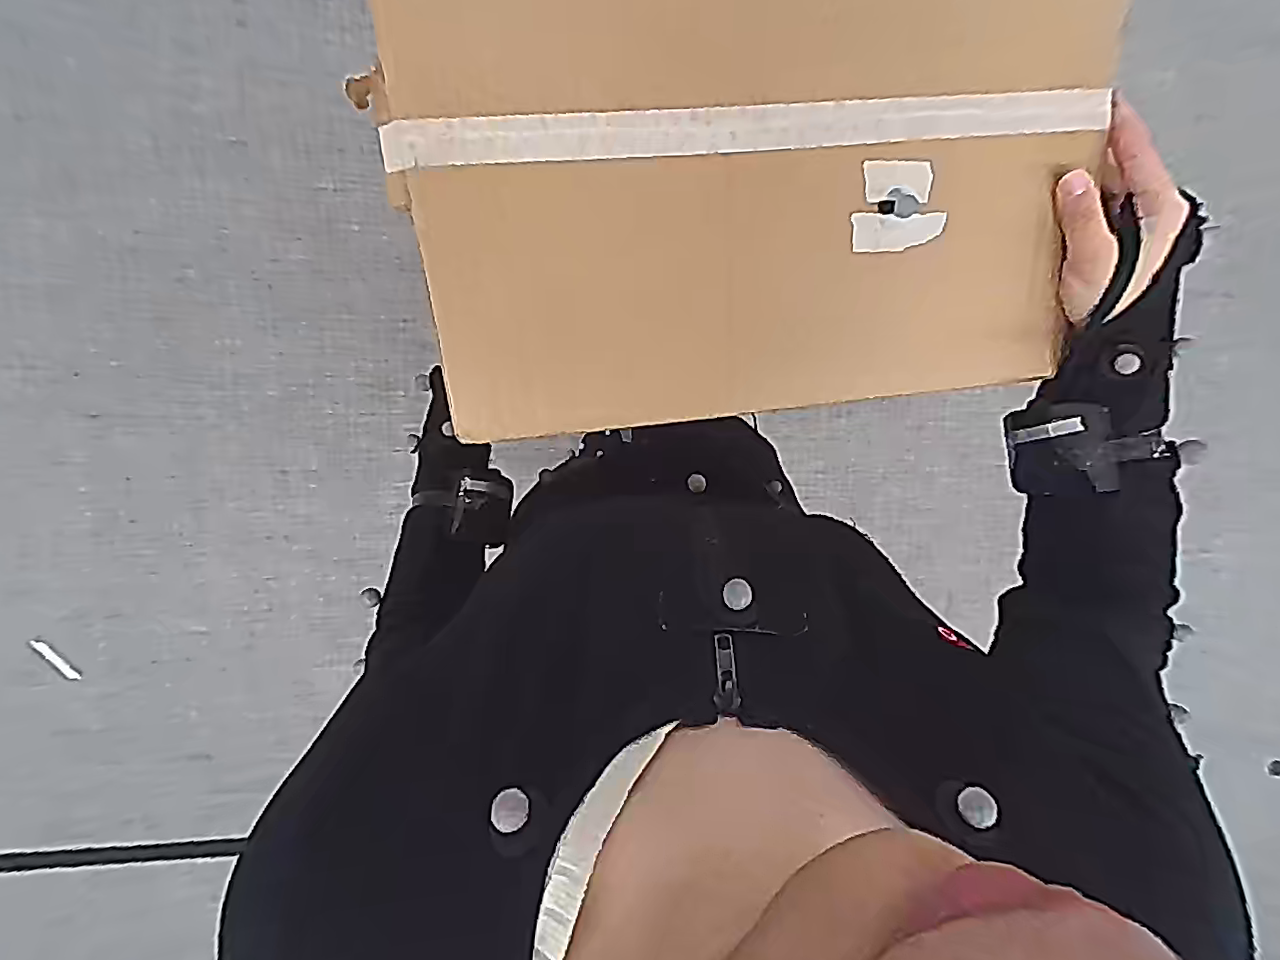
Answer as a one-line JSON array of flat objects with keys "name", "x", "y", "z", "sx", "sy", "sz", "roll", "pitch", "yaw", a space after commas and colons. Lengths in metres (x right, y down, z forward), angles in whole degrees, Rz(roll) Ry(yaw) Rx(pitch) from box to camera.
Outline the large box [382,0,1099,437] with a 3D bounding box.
[{"name": "large box", "x": 0.049, "y": -0.241, "z": 0.448, "sx": 0.408, "sy": 0.320, "sz": 0.320, "roll": -8, "pitch": 109, "yaw": -8}]
